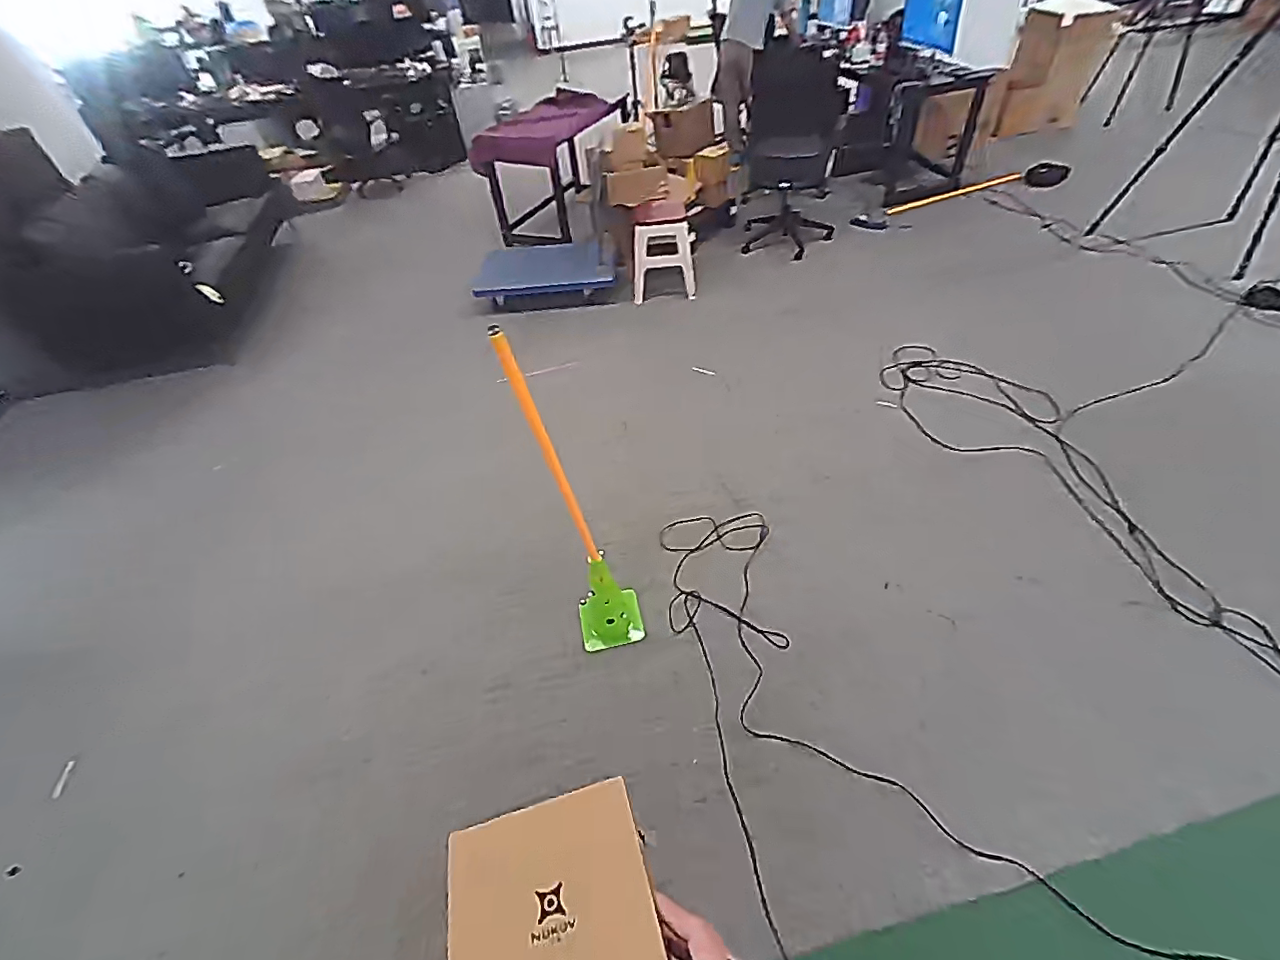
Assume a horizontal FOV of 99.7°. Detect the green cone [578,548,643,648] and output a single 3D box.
[{"bbox_3d":[-0.114,0.338,1.683,0.202,0.368,0.200,-11,46,-6],"label":"green cone"}]
